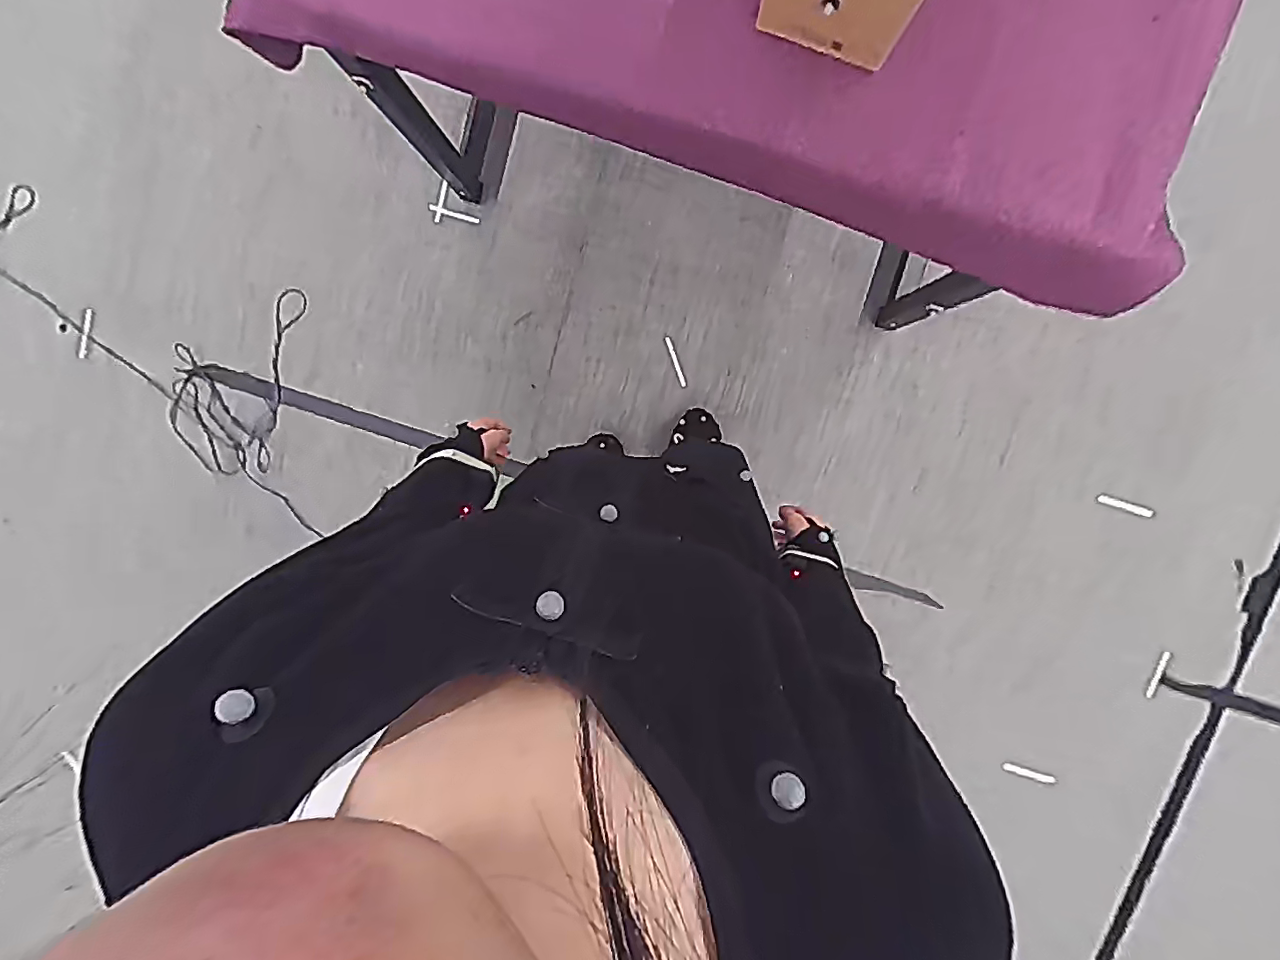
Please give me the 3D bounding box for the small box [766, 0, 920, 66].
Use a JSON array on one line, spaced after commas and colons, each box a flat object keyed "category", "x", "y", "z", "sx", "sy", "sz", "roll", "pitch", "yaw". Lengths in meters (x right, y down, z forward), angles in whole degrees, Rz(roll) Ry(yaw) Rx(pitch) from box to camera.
[{"category": "small box", "x": 0.251, "y": -0.613, "z": 0.594, "sx": 0.168, "sy": 0.176, "sz": 0.179, "roll": 20, "pitch": 96, "yaw": -1}]
